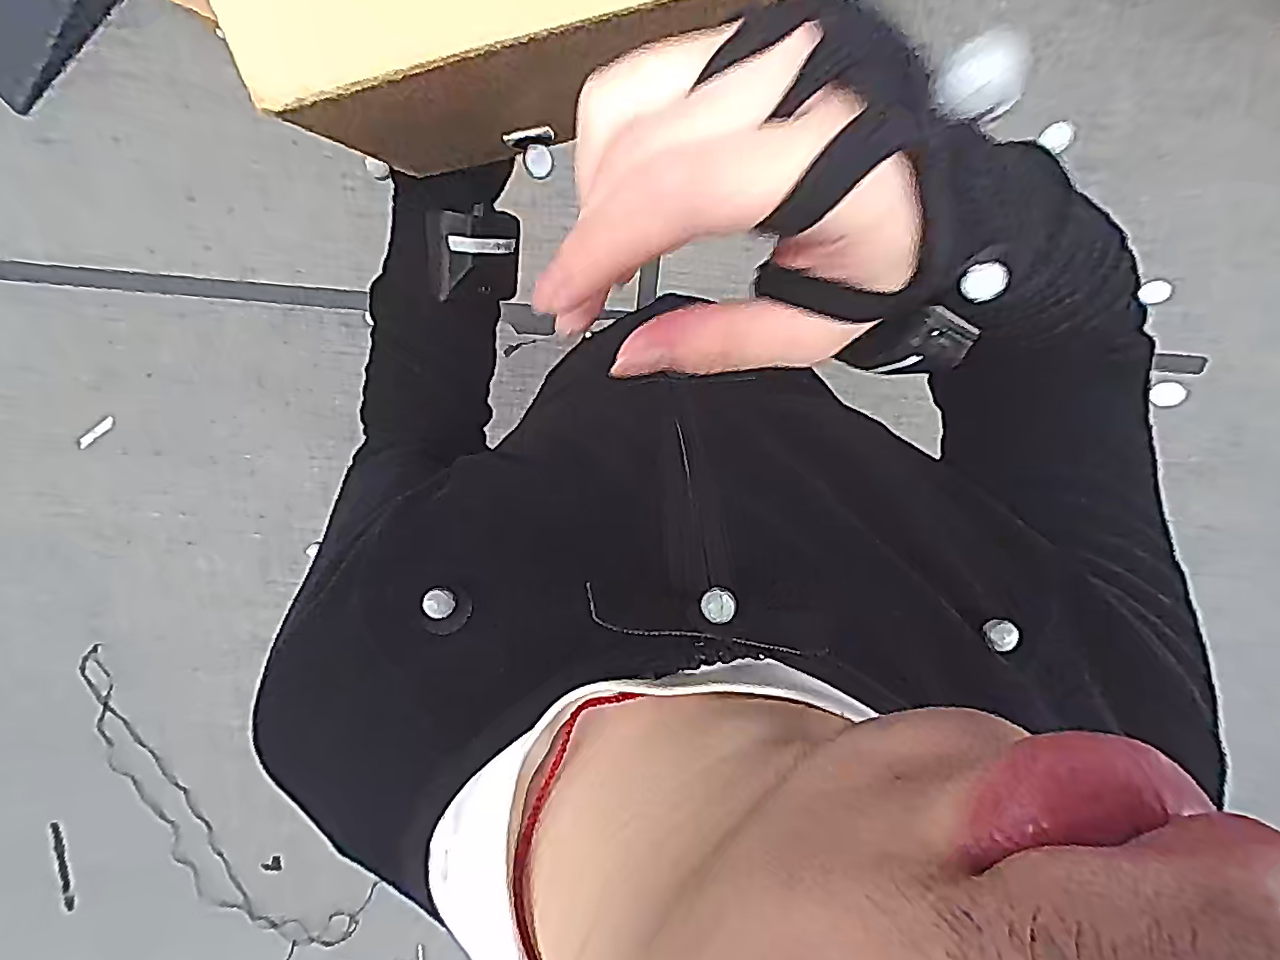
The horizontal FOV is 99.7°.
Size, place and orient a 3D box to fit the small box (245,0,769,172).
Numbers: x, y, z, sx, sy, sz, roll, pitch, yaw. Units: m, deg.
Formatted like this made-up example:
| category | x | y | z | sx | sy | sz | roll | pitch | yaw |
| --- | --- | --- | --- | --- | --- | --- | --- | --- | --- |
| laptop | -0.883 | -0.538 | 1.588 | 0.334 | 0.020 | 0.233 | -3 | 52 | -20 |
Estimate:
| category | x | y | z | sx | sy | sz | roll | pitch | yaw |
| --- | --- | --- | --- | --- | --- | --- | --- | --- | --- |
| small box | -0.057 | -0.245 | 0.212 | 0.168 | 0.176 | 0.179 | -13 | 113 | 3 |
